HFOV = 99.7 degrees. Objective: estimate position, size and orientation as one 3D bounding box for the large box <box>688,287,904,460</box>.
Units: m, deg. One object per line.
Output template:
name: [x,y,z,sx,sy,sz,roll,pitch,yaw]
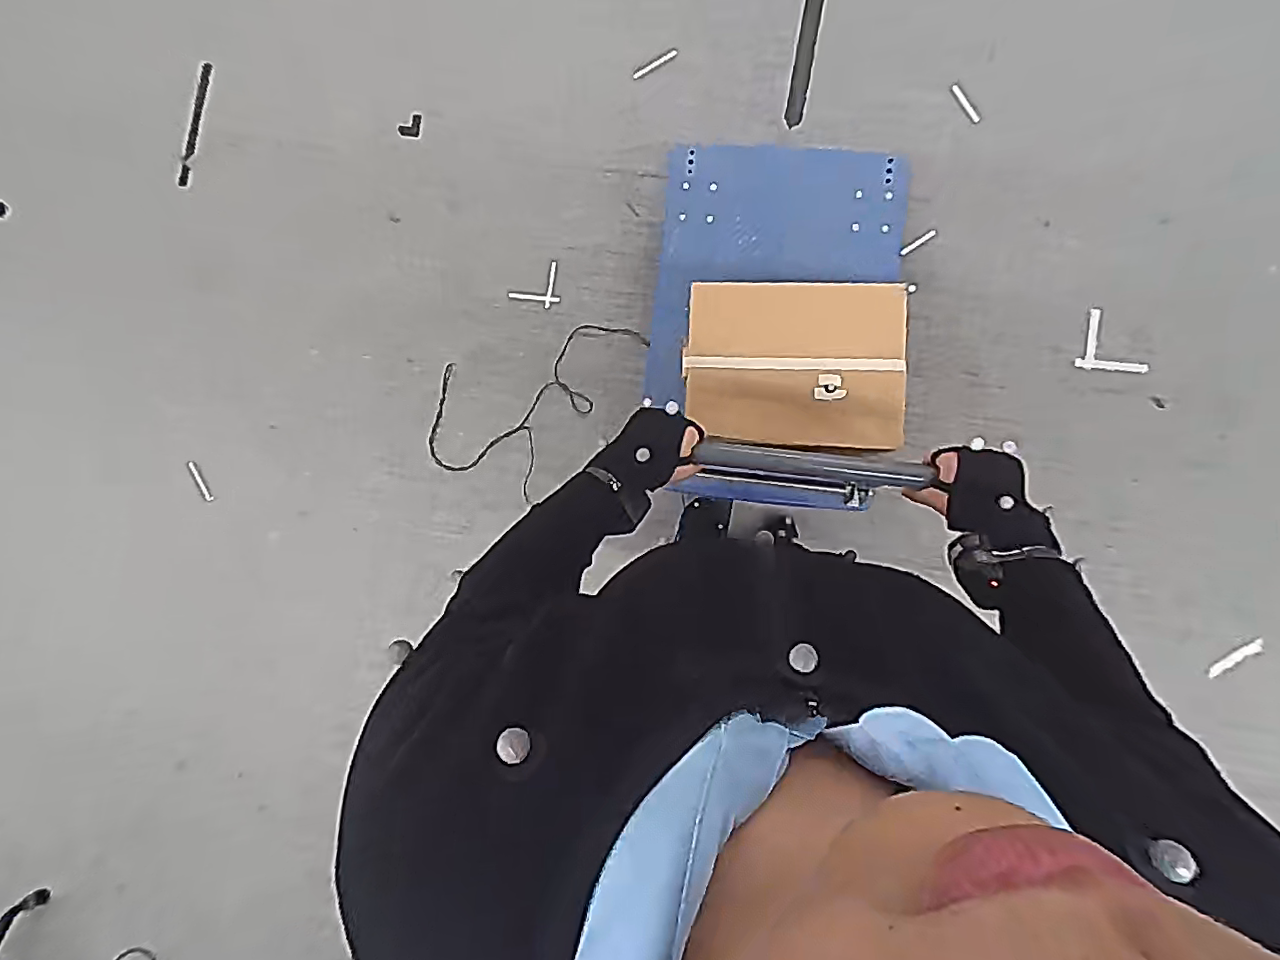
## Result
large box: [0.309,-0.211,1.181,0.408,0.320,0.320,2,89,5]
